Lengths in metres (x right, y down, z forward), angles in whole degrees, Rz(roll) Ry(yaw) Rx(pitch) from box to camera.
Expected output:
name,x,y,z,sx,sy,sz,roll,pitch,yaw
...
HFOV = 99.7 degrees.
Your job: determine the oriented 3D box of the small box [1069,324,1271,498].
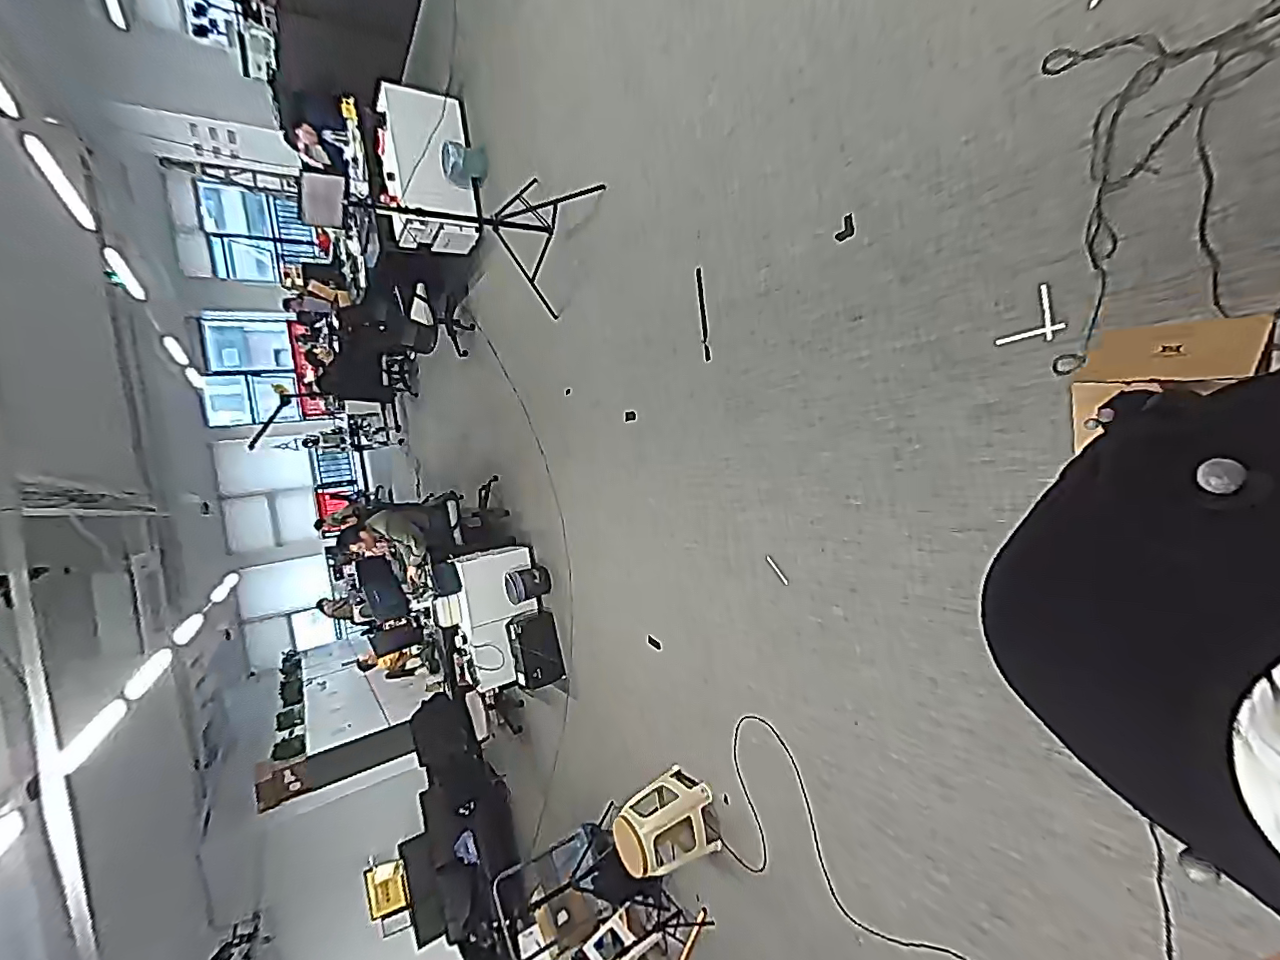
name,x,y,z,sx,sy,sz,roll,pitch,yaw
small box,0.721,-0.094,0.742,0.168,0.179,0.176,12,132,51
